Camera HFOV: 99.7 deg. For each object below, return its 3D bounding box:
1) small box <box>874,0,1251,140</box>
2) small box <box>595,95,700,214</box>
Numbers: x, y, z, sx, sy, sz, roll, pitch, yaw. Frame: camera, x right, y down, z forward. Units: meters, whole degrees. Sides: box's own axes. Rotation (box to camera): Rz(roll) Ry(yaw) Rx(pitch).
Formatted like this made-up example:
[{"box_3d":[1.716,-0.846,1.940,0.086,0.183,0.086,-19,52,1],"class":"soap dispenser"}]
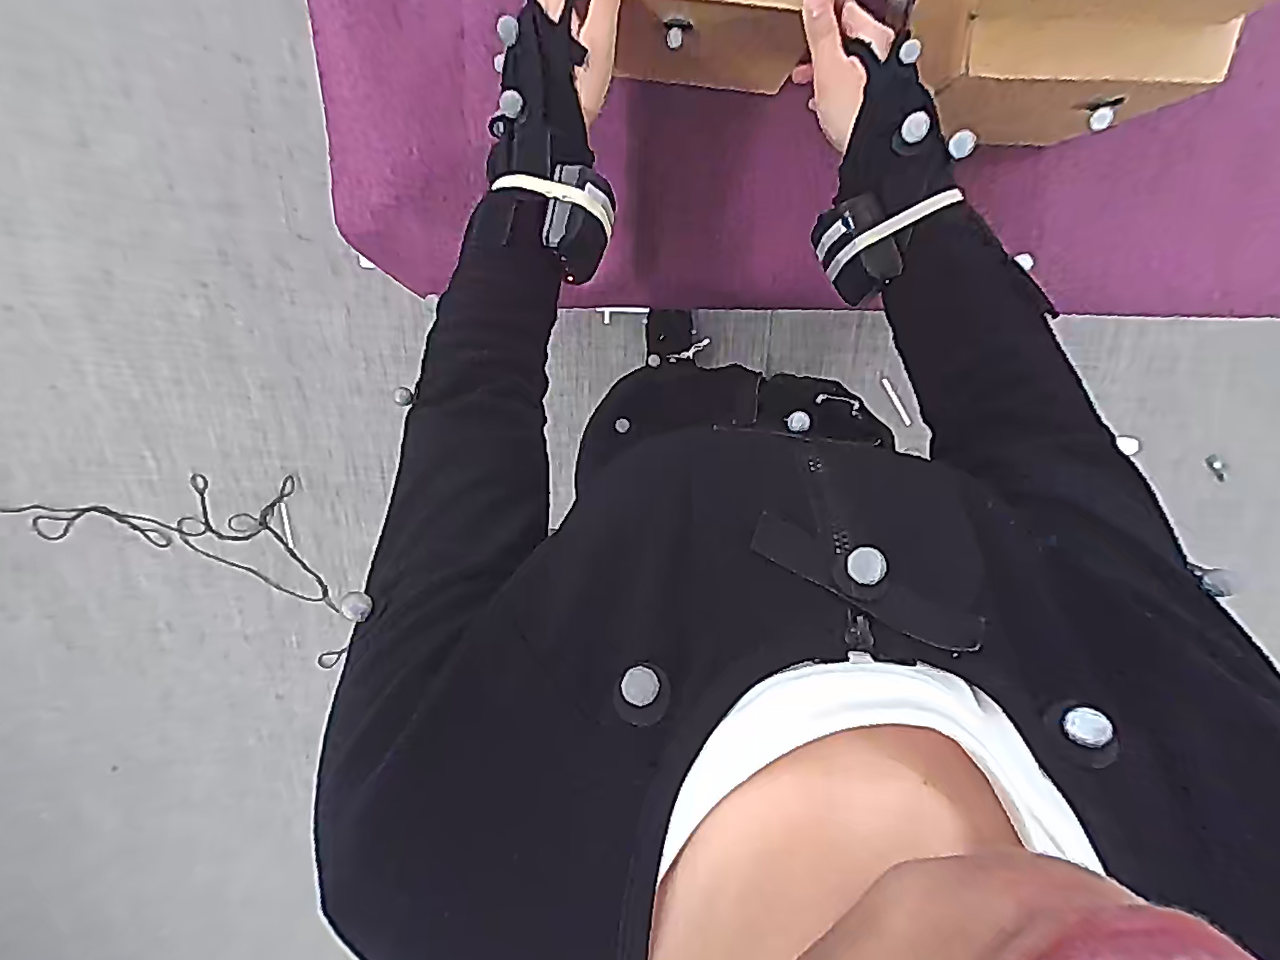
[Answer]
[{"box_3d":[0.305,-0.373,0.406,0.179,0.176,0.168,2,108,1],"class":"small box"},{"box_3d":[0.011,-0.588,0.993,0.179,0.176,0.168,1,112,1],"class":"small box"}]
